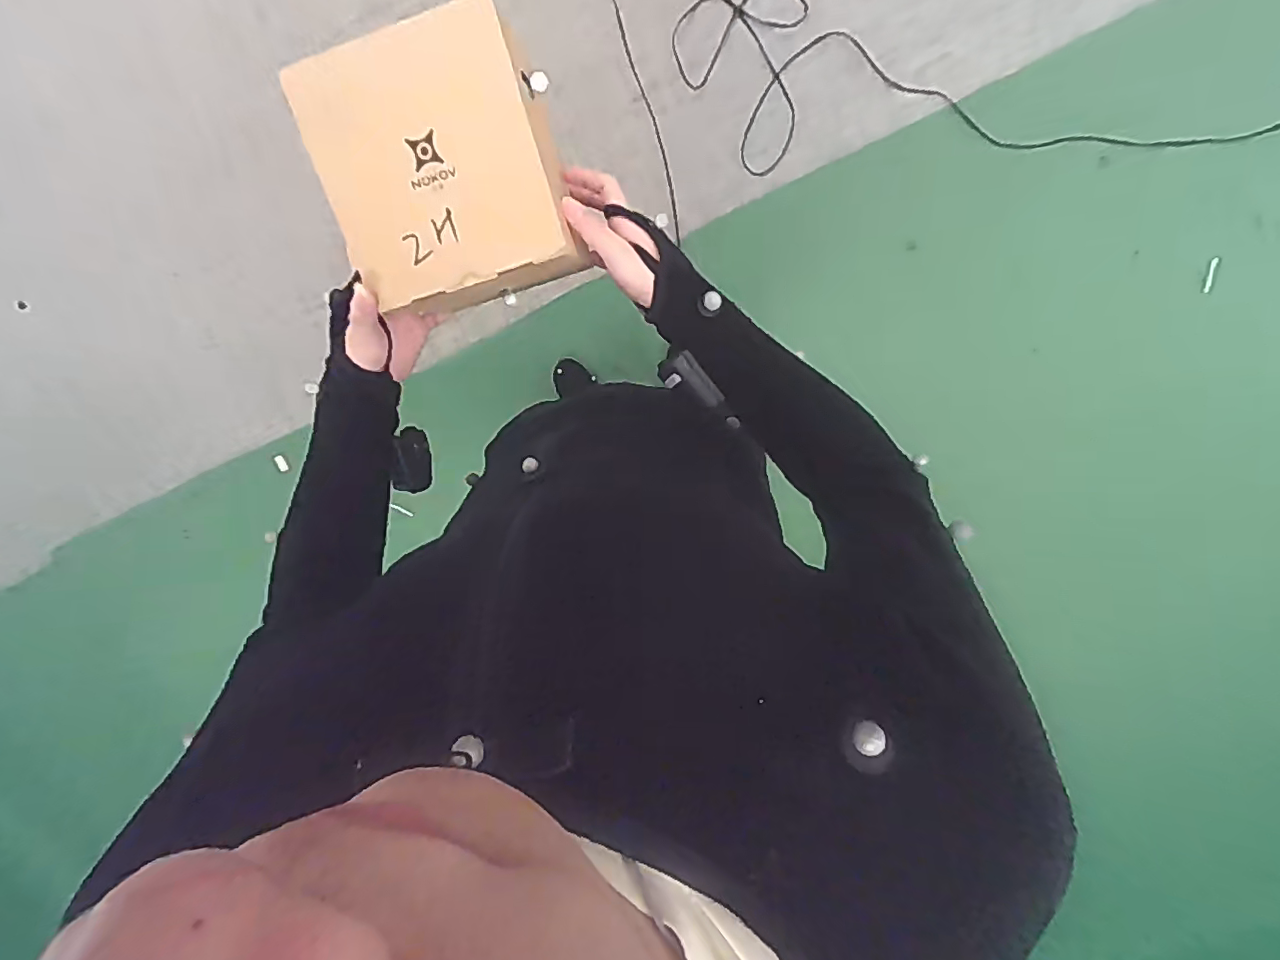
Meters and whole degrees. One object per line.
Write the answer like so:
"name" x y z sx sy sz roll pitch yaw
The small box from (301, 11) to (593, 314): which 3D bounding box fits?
"small box" -0.149 -0.256 0.488 0.168 0.176 0.179 -14 107 6
